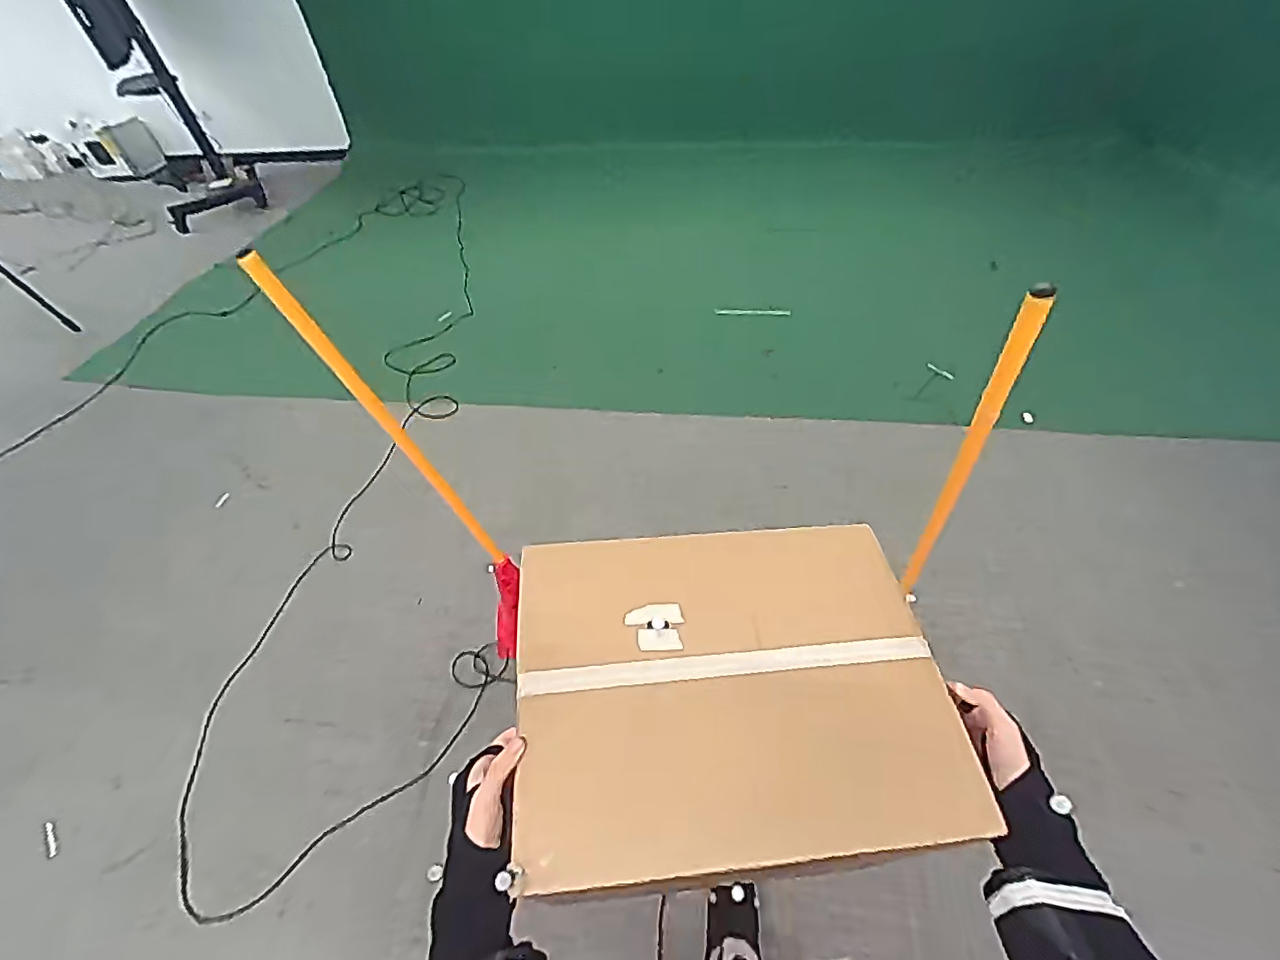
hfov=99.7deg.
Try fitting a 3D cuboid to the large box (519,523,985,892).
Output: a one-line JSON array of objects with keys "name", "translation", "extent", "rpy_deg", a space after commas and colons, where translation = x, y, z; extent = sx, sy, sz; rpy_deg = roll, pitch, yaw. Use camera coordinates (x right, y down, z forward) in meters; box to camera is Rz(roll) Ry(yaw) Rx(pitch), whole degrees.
[{"name": "large box", "translation": [0.082, 0.278, 0.650], "extent": [0.408, 0.320, 0.320], "rpy_deg": [-4, 51, -5]}]
